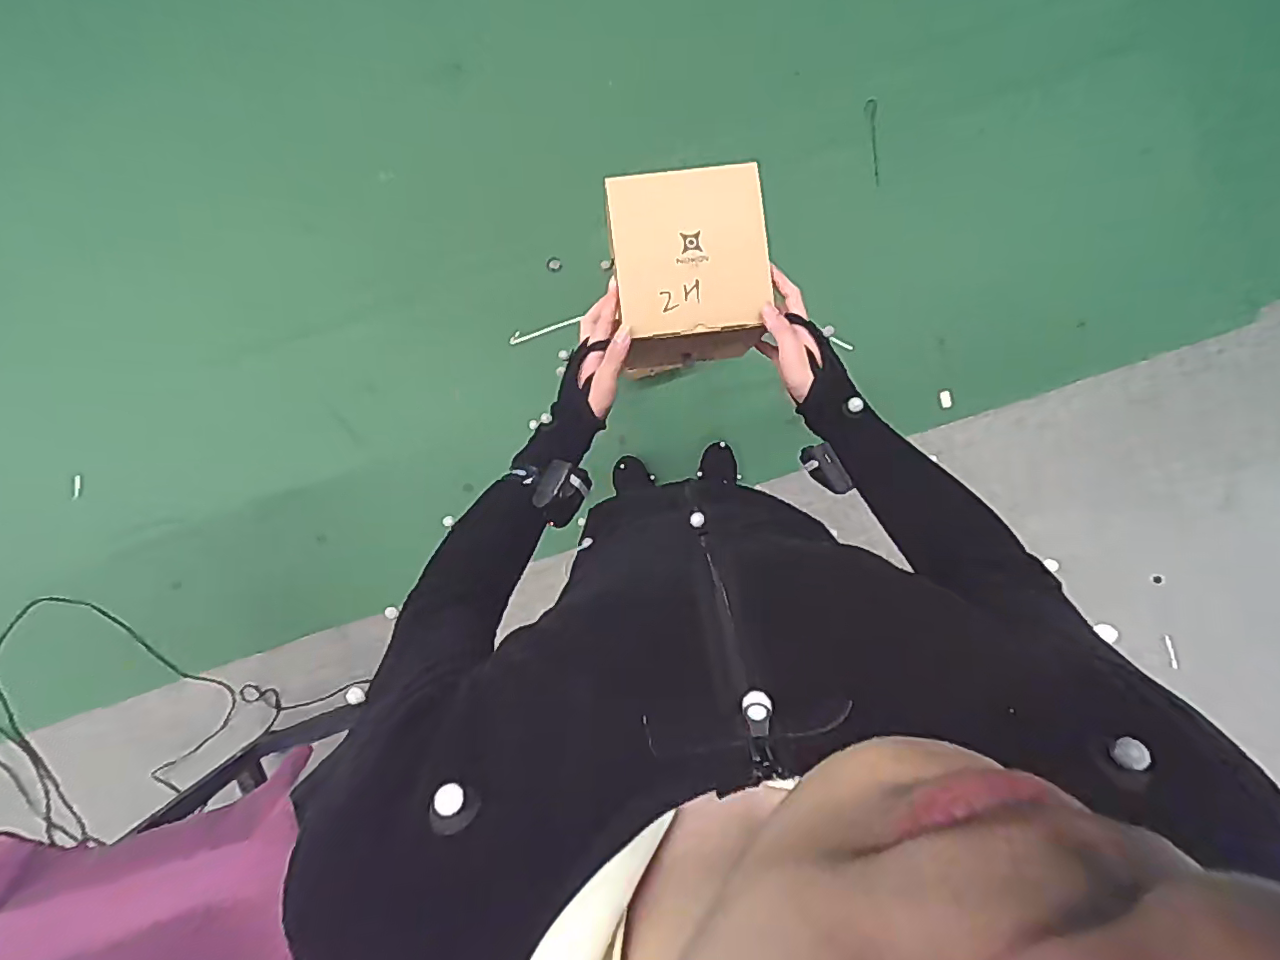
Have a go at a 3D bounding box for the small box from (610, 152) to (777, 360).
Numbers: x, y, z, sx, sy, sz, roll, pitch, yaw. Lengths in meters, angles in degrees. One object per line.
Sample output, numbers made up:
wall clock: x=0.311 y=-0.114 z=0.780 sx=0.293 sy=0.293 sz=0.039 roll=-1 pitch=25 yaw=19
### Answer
small box: x=0.053 y=-0.253 z=0.645 sx=0.168 sy=0.176 sz=0.179 roll=-6 pitch=93 yaw=-1

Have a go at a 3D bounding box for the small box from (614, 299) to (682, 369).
small box: x=0.030 y=-0.425 z=1.523 sx=0.168 sy=0.176 sz=0.179 roll=-15 pitch=95 yaw=3
